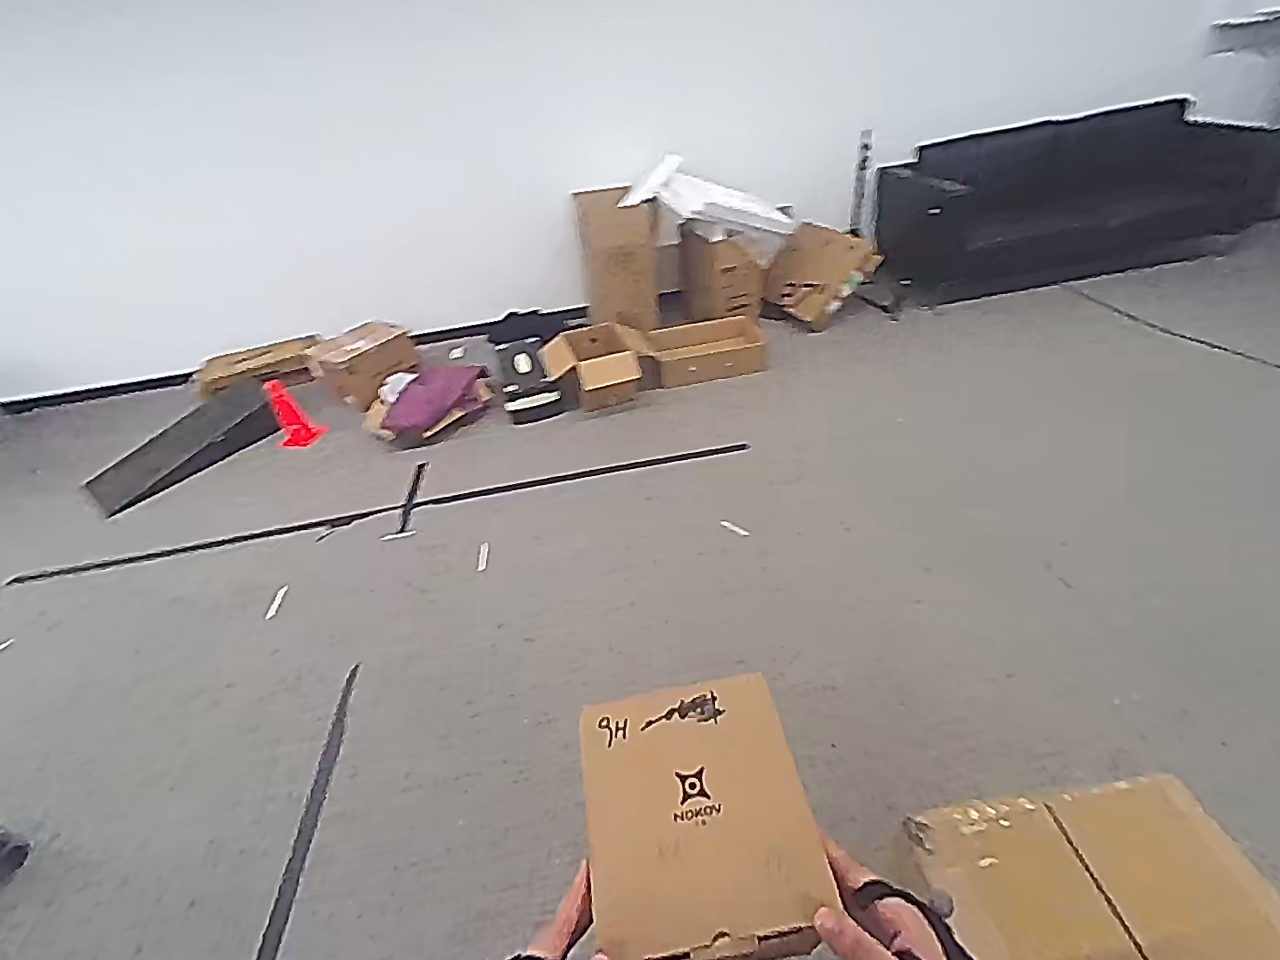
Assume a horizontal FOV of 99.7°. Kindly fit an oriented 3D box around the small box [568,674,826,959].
[{"bbox_3d":[0.039,0.299,0.464,0.168,0.176,0.179,-11,45,-4],"label":"small box"}]
